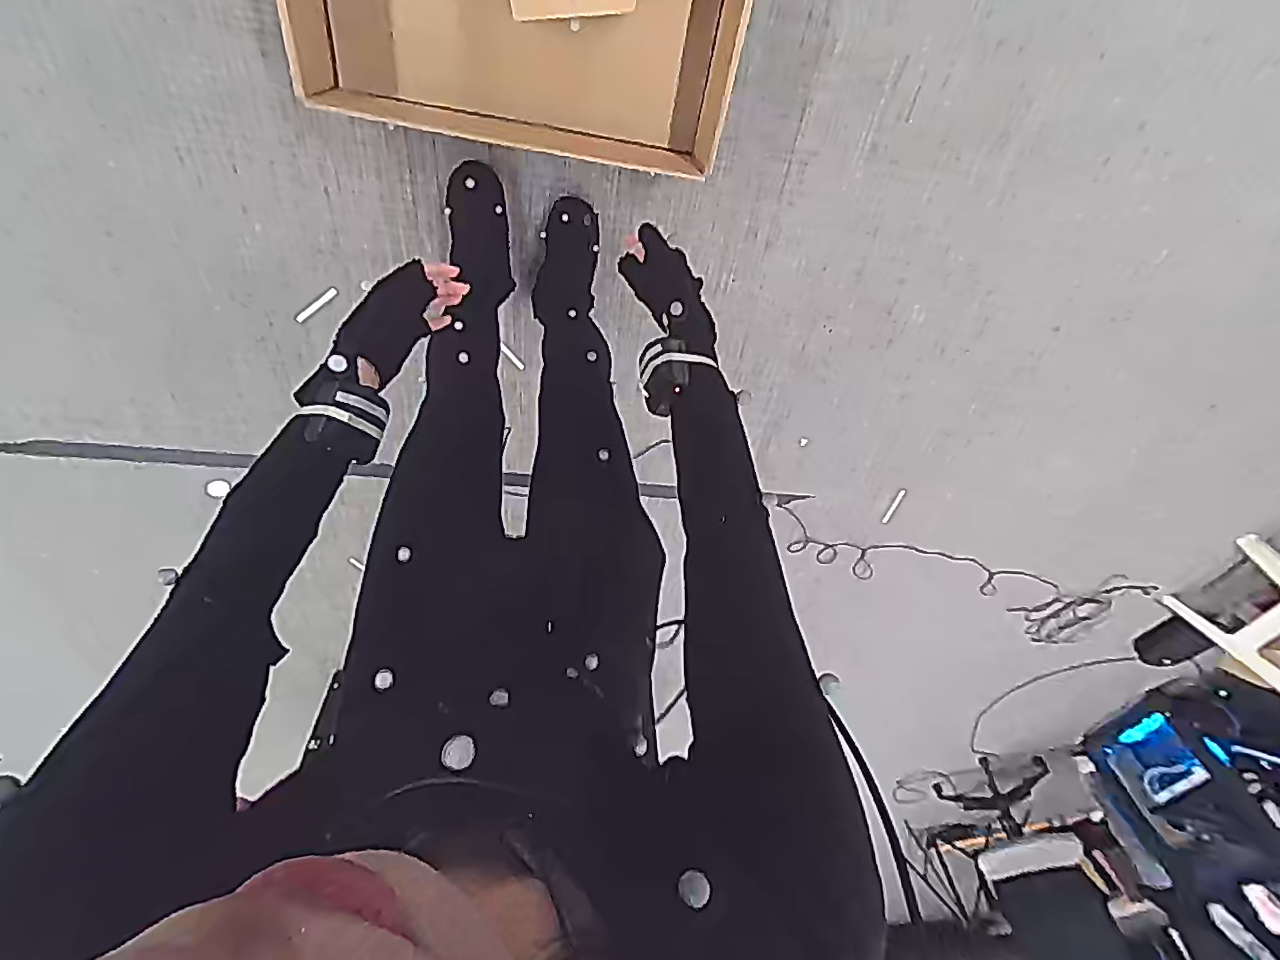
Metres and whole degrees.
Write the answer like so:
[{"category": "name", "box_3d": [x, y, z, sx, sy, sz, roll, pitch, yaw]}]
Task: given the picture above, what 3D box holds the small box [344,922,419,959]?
[{"category": "small box", "box_3d": [-0.735, 1.378, 1.530, 0.179, 0.176, 0.168, 0, 130, -7]}]
